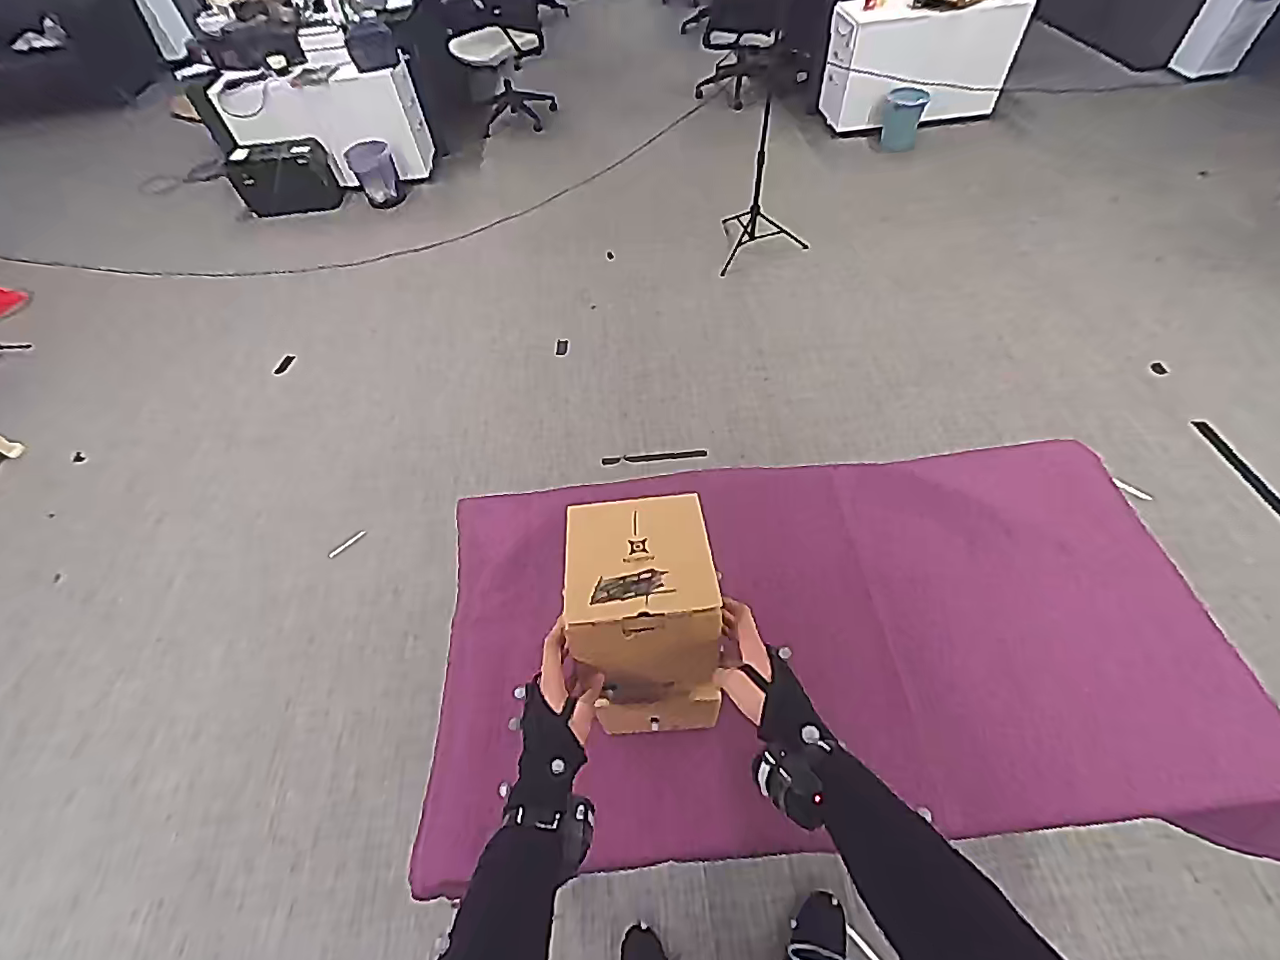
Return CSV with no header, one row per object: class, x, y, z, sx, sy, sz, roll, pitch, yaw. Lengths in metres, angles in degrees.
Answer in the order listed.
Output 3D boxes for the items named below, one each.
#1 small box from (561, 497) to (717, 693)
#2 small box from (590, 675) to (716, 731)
small box,0.001,0.146,0.667,0.168,0.176,0.179,-5,43,-1
small box,0.019,0.263,0.798,0.168,0.176,0.179,-4,54,1
